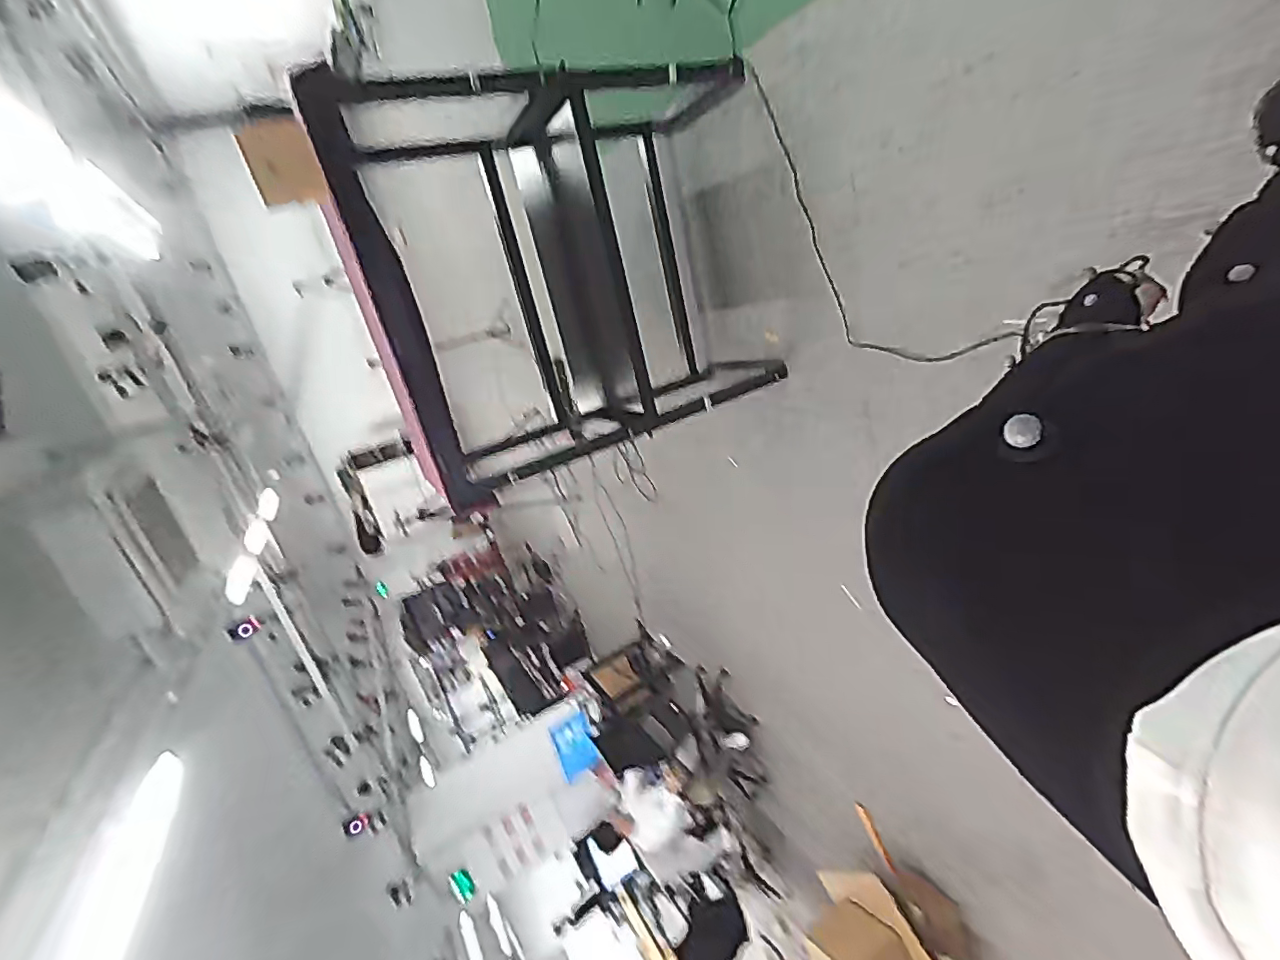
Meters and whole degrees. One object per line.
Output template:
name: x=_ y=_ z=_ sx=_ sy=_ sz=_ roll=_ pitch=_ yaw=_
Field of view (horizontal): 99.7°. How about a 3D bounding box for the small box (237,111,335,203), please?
small box: x=-0.942 y=-0.865 z=1.453 sx=0.168 sy=0.176 sz=0.179 roll=27 pitch=134 yaw=54
